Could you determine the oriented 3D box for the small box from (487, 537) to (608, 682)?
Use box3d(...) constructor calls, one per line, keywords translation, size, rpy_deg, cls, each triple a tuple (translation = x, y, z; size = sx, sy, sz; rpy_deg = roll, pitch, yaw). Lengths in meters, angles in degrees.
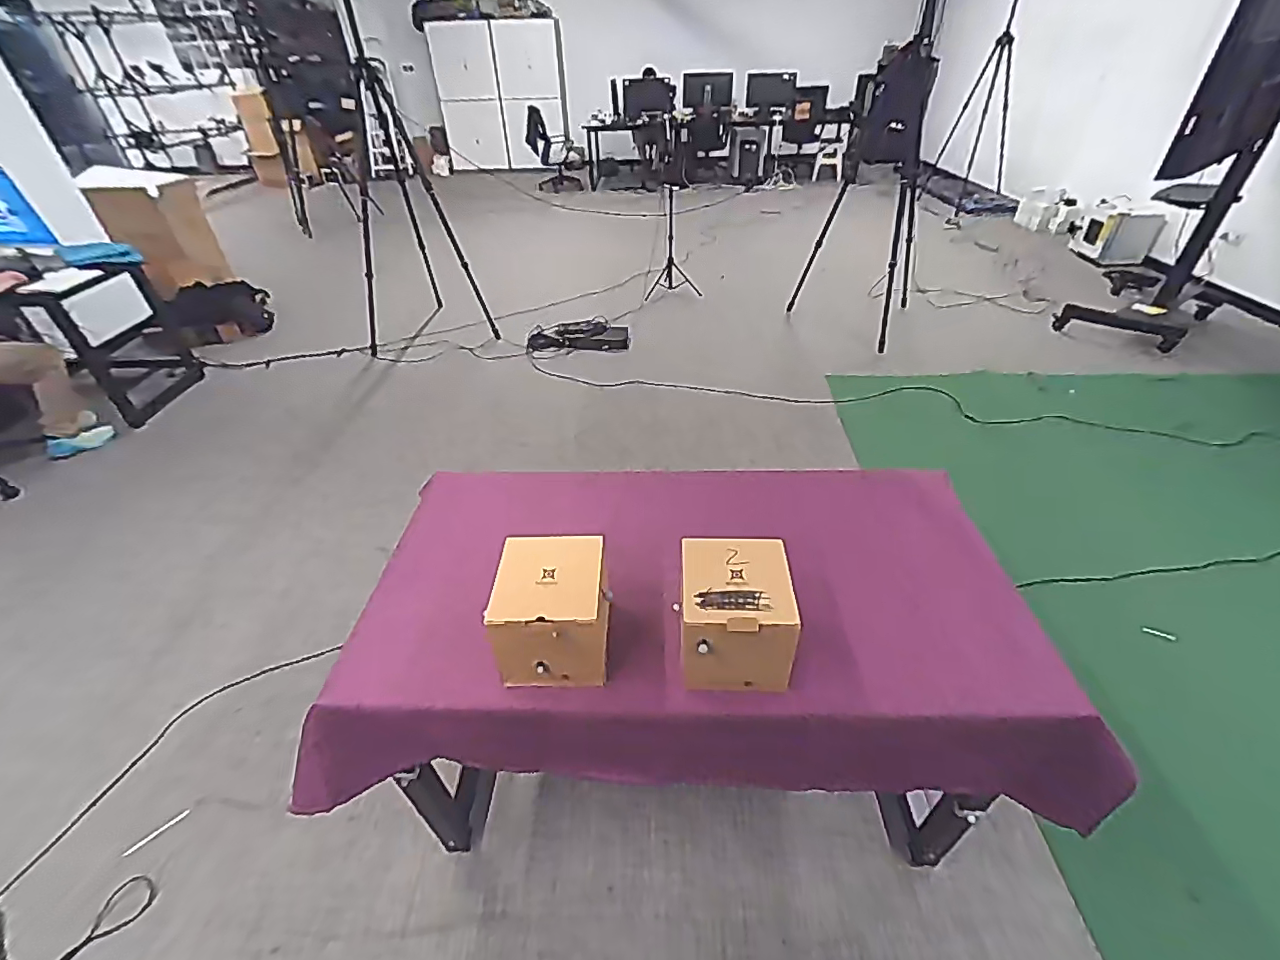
box3d(translation=(-0.143, 0.214, 0.906), size=(0.168, 0.176, 0.179), rpy_deg=(-1, 40, 1), cls="small box")
